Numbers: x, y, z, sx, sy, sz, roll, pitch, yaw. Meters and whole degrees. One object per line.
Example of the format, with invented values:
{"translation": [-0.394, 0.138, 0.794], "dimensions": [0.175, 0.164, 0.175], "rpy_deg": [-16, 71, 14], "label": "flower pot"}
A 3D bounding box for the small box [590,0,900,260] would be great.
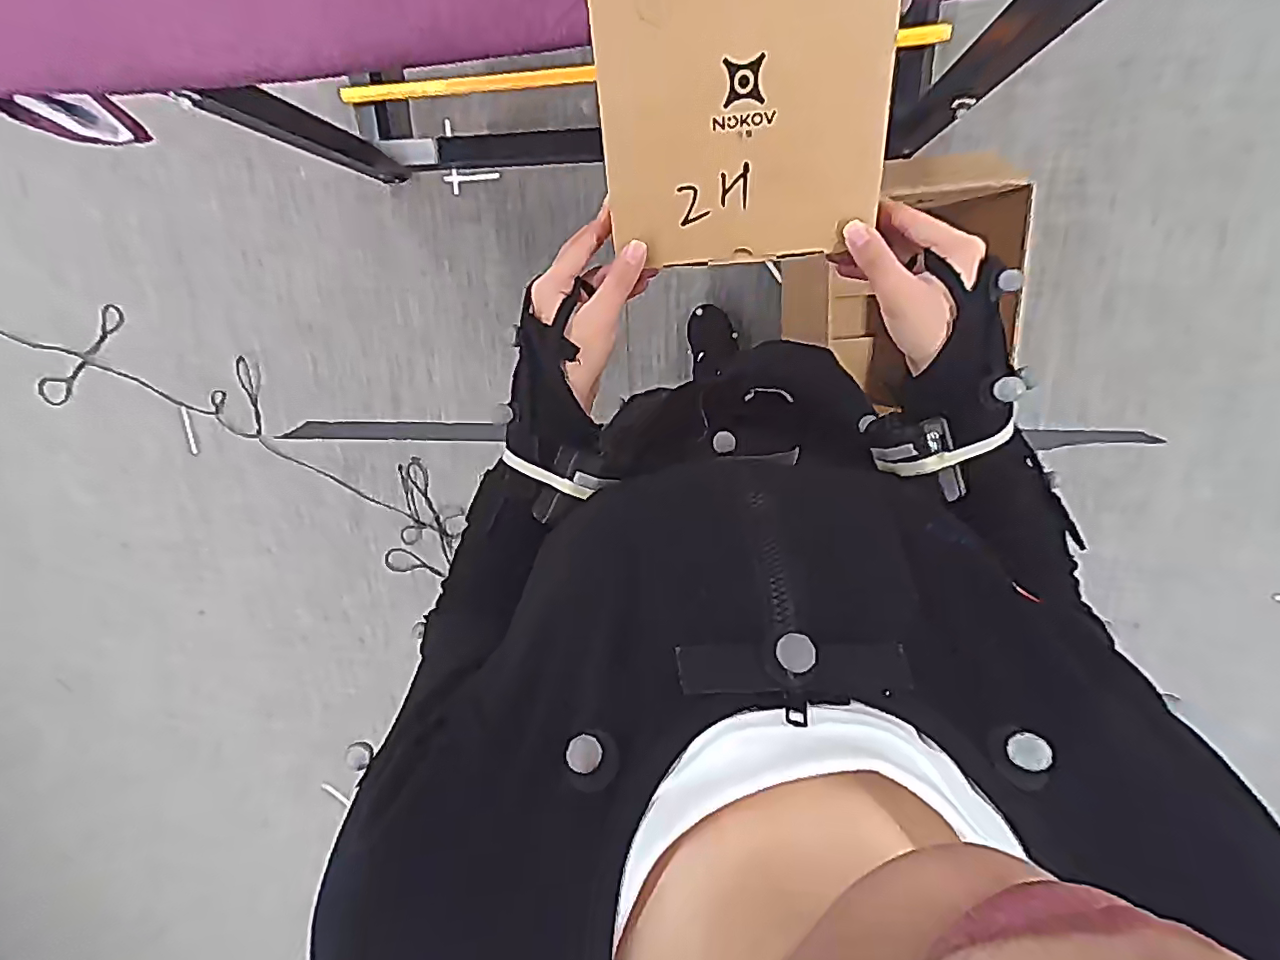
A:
{"translation": [0.062, -0.259, 0.373], "dimensions": [0.168, 0.176, 0.179], "rpy_deg": [-2, 118, 7], "label": "small box"}
